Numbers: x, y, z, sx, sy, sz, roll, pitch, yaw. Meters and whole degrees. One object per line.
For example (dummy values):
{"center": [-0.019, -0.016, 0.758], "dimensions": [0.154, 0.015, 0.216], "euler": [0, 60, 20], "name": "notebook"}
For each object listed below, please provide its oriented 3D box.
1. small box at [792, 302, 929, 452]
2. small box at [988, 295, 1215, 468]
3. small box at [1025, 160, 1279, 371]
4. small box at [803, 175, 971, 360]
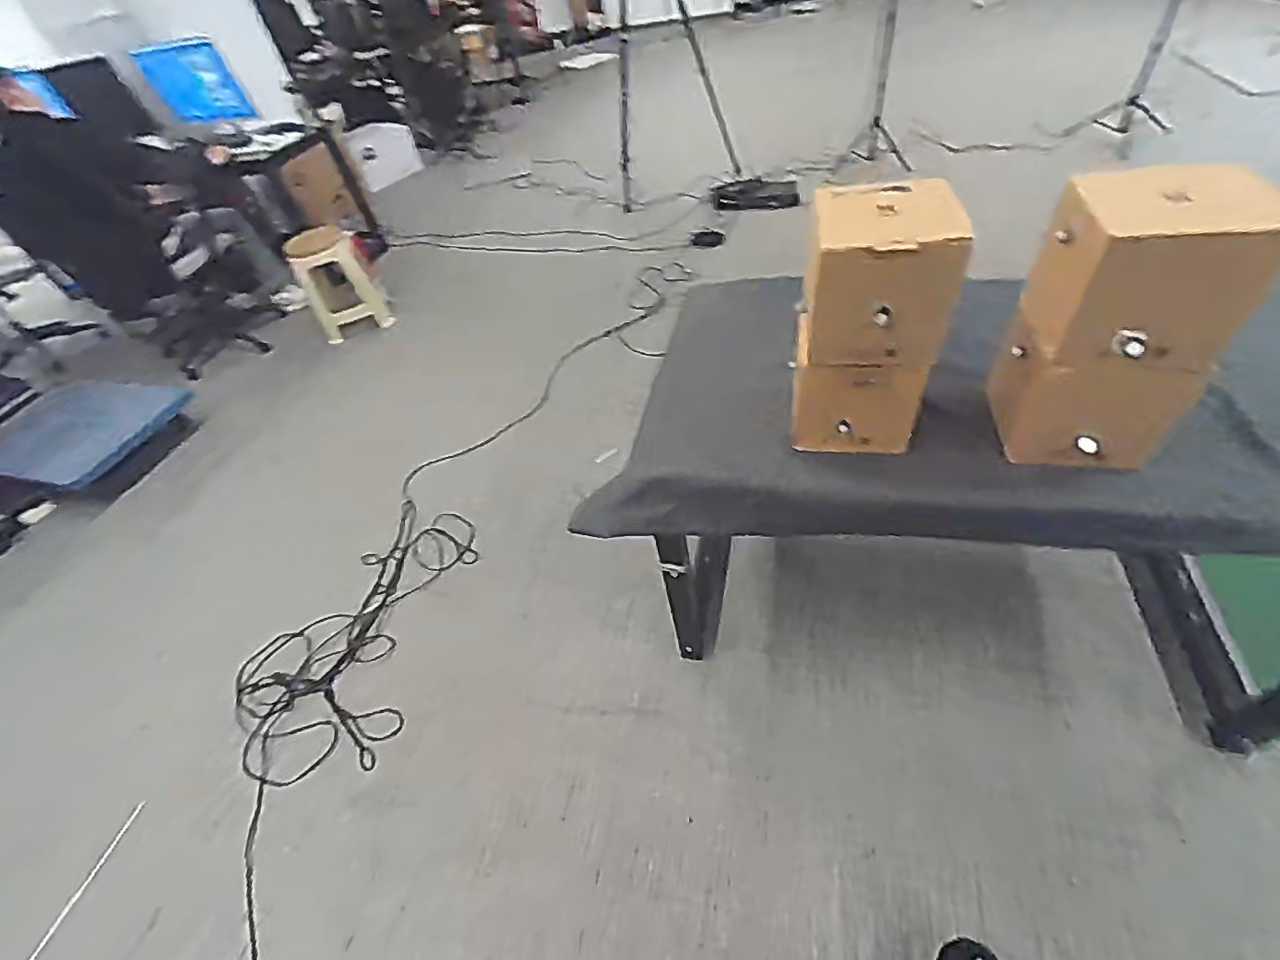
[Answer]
{"center": [0.326, -0.166, 0.836], "dimensions": [0.168, 0.176, 0.179], "euler": [3, 49, 13], "name": "small box"}
{"center": [0.612, -0.140, 0.752], "dimensions": [0.168, 0.176, 0.179], "euler": [4, 49, 15], "name": "small box"}
{"center": [0.585, -0.249, 0.635], "dimensions": [0.168, 0.176, 0.179], "euler": [4, 49, 17], "name": "small box"}
{"center": [0.308, -0.272, 0.714], "dimensions": [0.168, 0.176, 0.179], "euler": [2, 49, 12], "name": "small box"}
